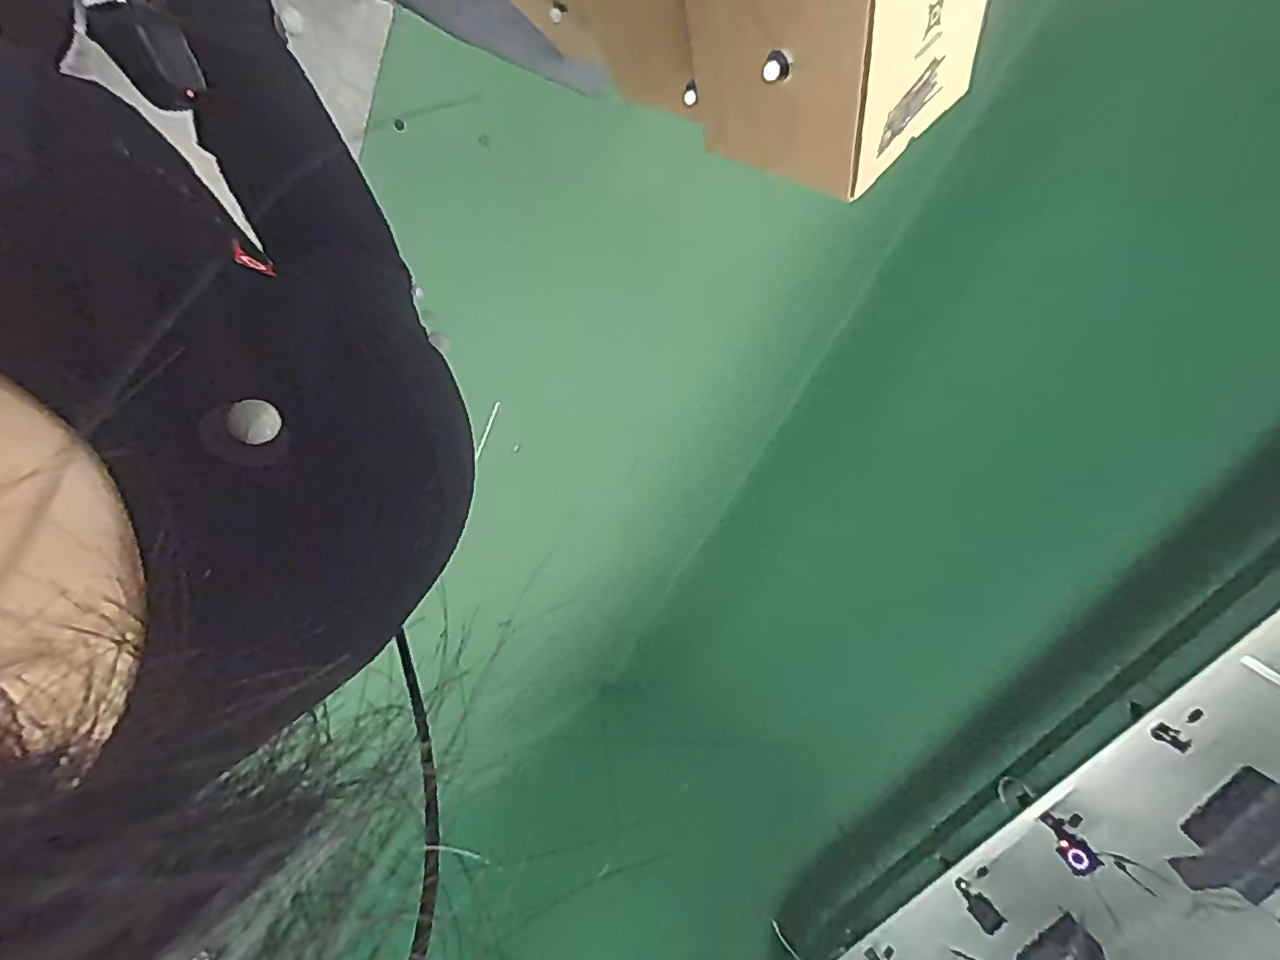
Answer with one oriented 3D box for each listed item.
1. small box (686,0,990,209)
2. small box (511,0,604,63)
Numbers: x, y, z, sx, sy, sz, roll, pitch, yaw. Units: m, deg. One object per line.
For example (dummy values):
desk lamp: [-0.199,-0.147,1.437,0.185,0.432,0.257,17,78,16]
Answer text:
small box: [0.154,-0.365,0.434,0.168,0.176,0.179,-45,150,-11]
small box: [-0.052,-0.580,0.579,0.179,0.176,0.168,4,120,-55]
